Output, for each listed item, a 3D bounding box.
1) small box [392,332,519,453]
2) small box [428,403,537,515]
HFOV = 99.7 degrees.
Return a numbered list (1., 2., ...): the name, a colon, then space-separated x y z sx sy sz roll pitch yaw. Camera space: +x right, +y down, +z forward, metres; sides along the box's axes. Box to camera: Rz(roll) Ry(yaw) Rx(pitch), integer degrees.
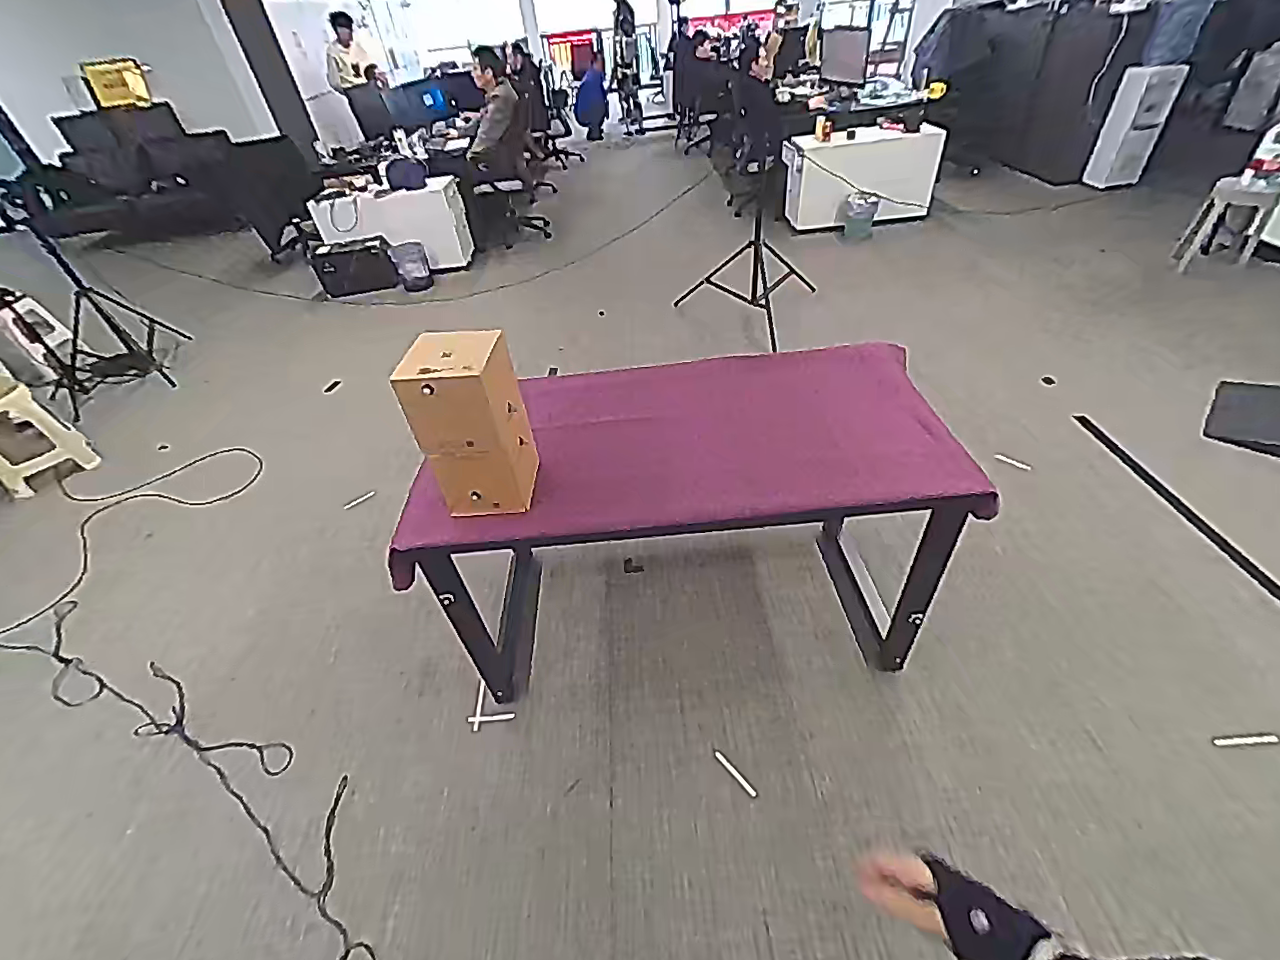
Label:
1. small box: -0.341 -0.169 1.044 0.168 0.176 0.179 -2 41 5
2. small box: -0.324 -0.045 1.151 0.168 0.176 0.179 -4 41 3
